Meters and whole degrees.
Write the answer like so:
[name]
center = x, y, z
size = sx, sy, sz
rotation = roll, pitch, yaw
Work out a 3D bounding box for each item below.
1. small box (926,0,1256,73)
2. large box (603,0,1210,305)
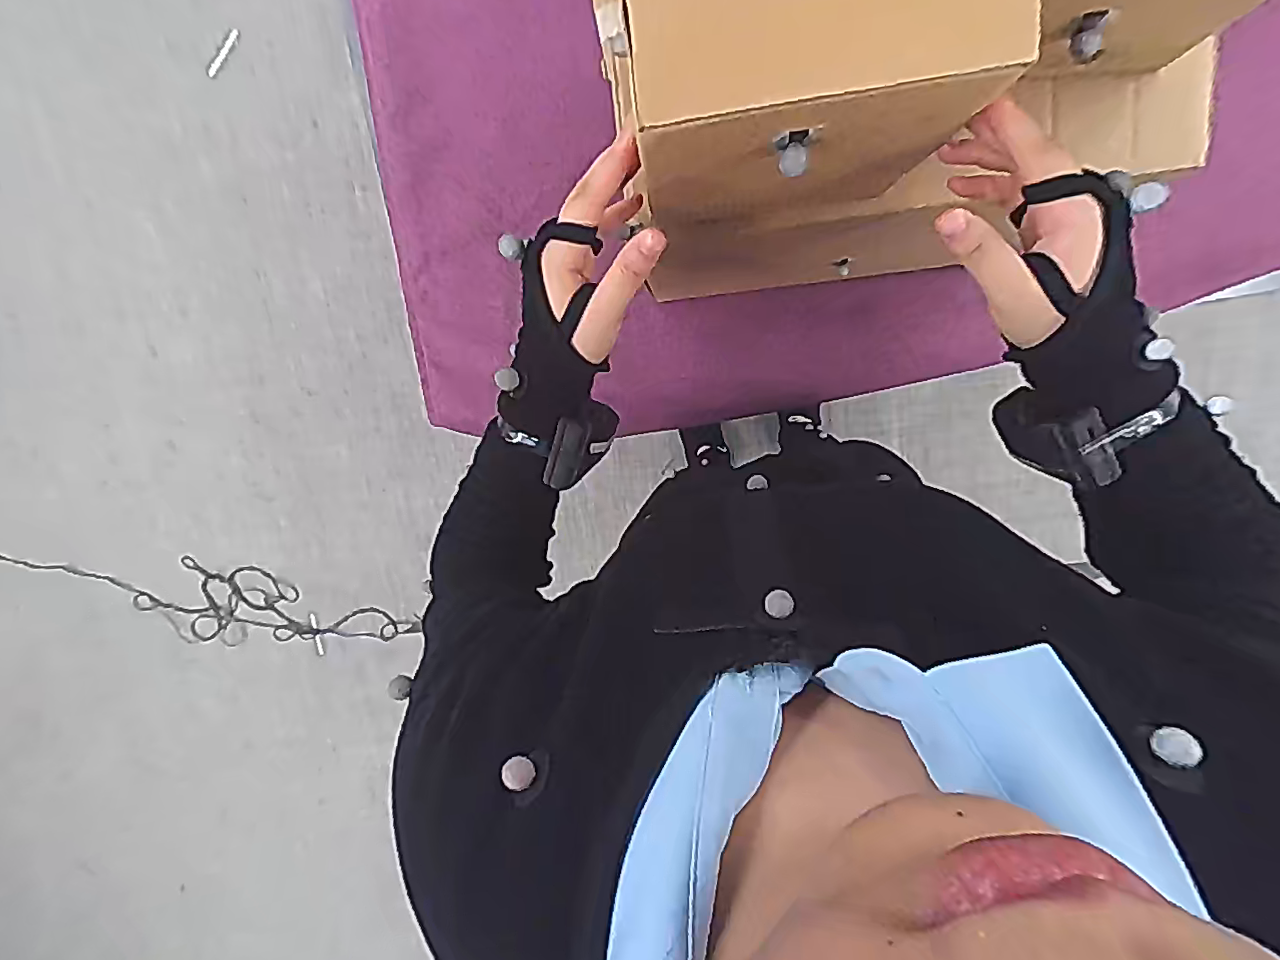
[small box]
center = 0.260, -0.345, 0.263
size = 0.168, 0.176, 0.179
rotation = 1, 100, 7
[large box]
center = 0.190, -0.371, 0.516
size = 0.408, 0.320, 0.320
rotation = -6, 98, 7
